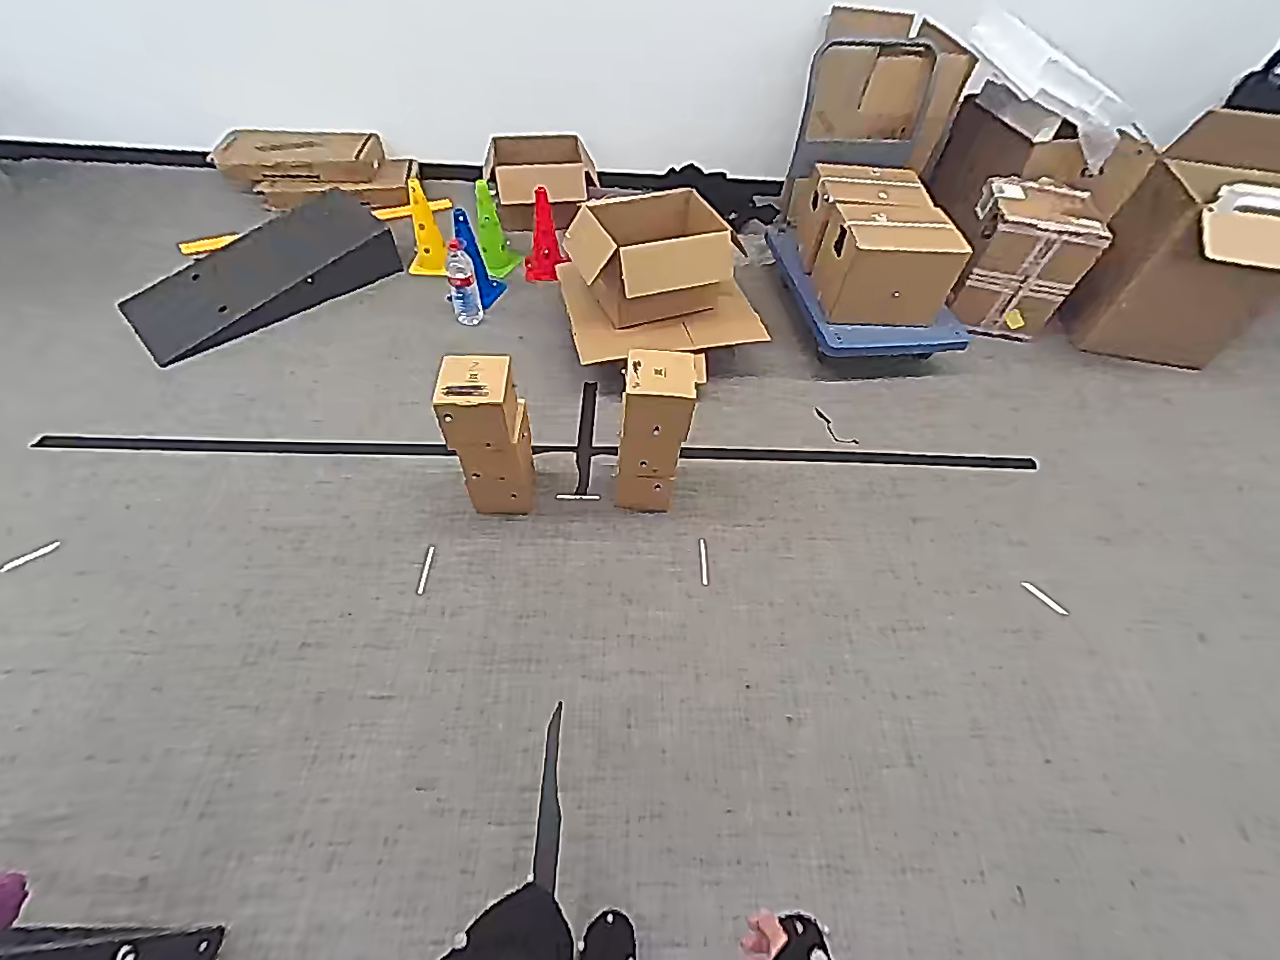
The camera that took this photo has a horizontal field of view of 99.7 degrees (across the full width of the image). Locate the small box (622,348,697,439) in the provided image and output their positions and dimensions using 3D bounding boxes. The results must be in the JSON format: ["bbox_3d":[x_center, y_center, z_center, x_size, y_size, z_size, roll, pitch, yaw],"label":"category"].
[{"bbox_3d":[0.048,-0.223,1.428,0.179,0.176,0.168,5,54,-3],"label":"small box"}]

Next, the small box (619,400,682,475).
[{"bbox_3d":[0.026,-0.133,1.564,0.168,0.176,0.179,2,54,-4],"label":"small box"}]

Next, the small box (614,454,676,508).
[{"bbox_3d":[0.016,-0.026,1.686,0.179,0.176,0.168,6,53,-1],"label":"small box"}]

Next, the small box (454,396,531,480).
[{"bbox_3d":[-0.404,-0.114,1.516,0.168,0.176,0.179,2,52,-3],"label":"small box"}]

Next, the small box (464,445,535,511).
[{"bbox_3d":[-0.420,-0.016,1.647,0.179,0.176,0.168,-1,52,-3],"label":"small box"}]
